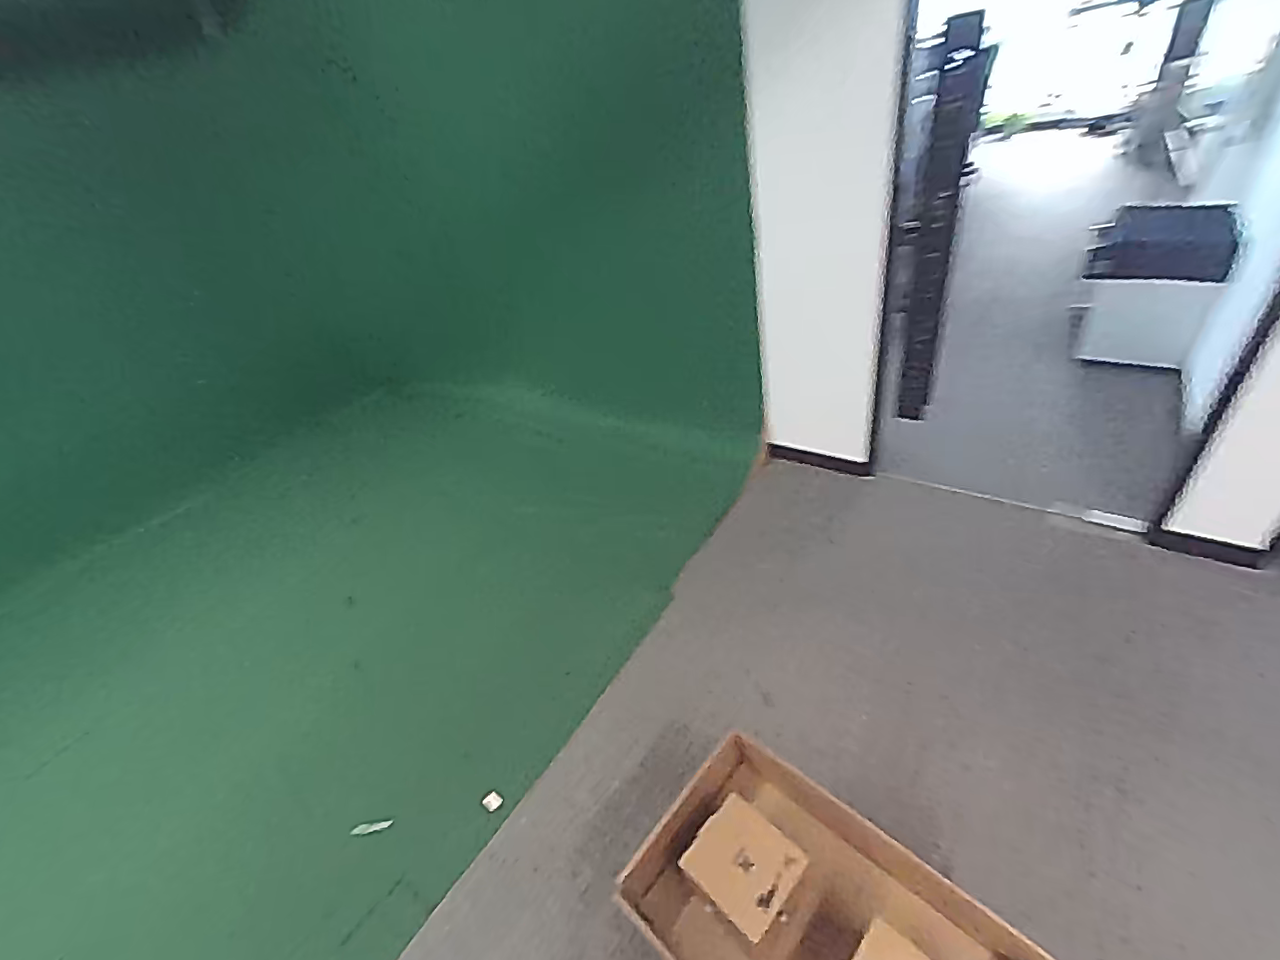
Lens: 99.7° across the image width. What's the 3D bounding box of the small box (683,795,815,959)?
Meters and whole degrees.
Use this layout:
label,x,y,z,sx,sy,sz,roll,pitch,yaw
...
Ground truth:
label,x,y,z,sx,sy,sz,roll,pitch,yaw
small box,0.206,0.749,1.012,0.168,0.176,0.179,-36,42,-27
